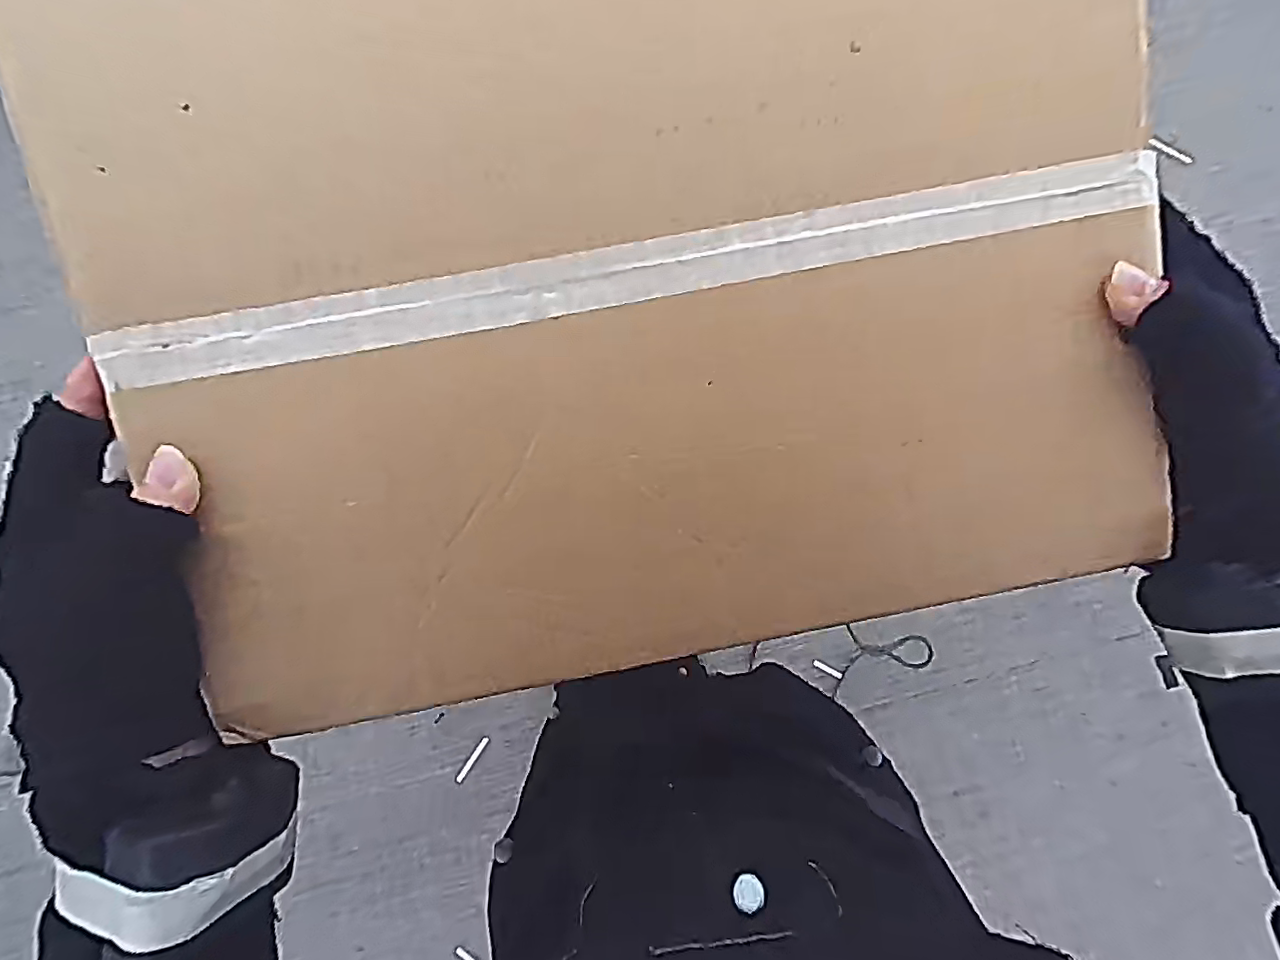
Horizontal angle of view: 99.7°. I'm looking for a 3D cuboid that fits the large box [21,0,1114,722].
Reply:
[{"bbox_3d":[-0.008,-0.102,0.366,0.408,0.320,0.320,-11,98,-2],"label":"large box"}]
